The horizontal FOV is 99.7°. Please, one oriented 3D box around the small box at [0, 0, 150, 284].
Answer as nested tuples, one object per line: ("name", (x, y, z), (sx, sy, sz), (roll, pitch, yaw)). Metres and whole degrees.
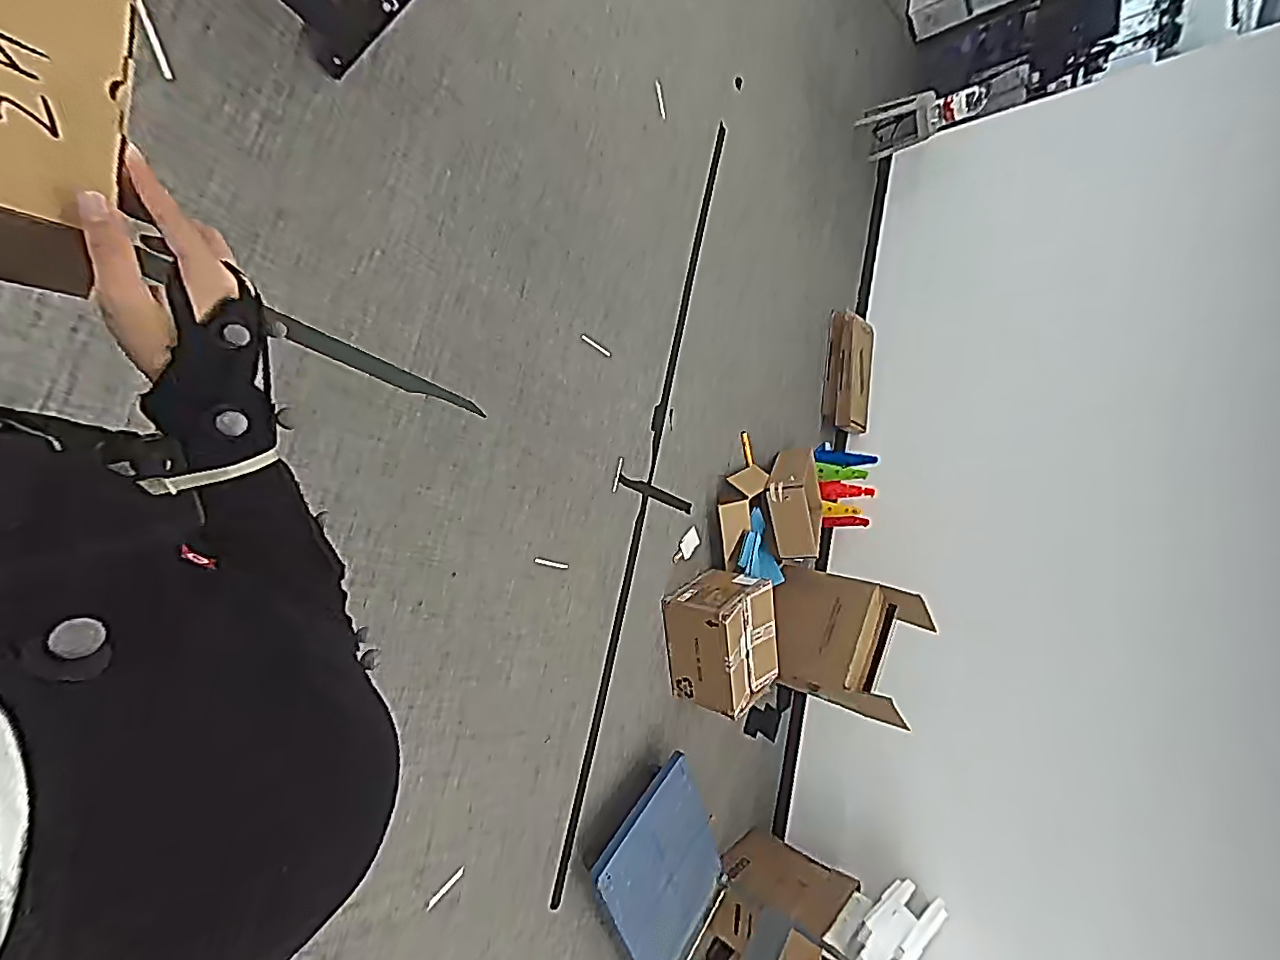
("small box", (-0.398, -0.222, 0.290), (0.179, 0.176, 0.168), (5, 88, -50))
